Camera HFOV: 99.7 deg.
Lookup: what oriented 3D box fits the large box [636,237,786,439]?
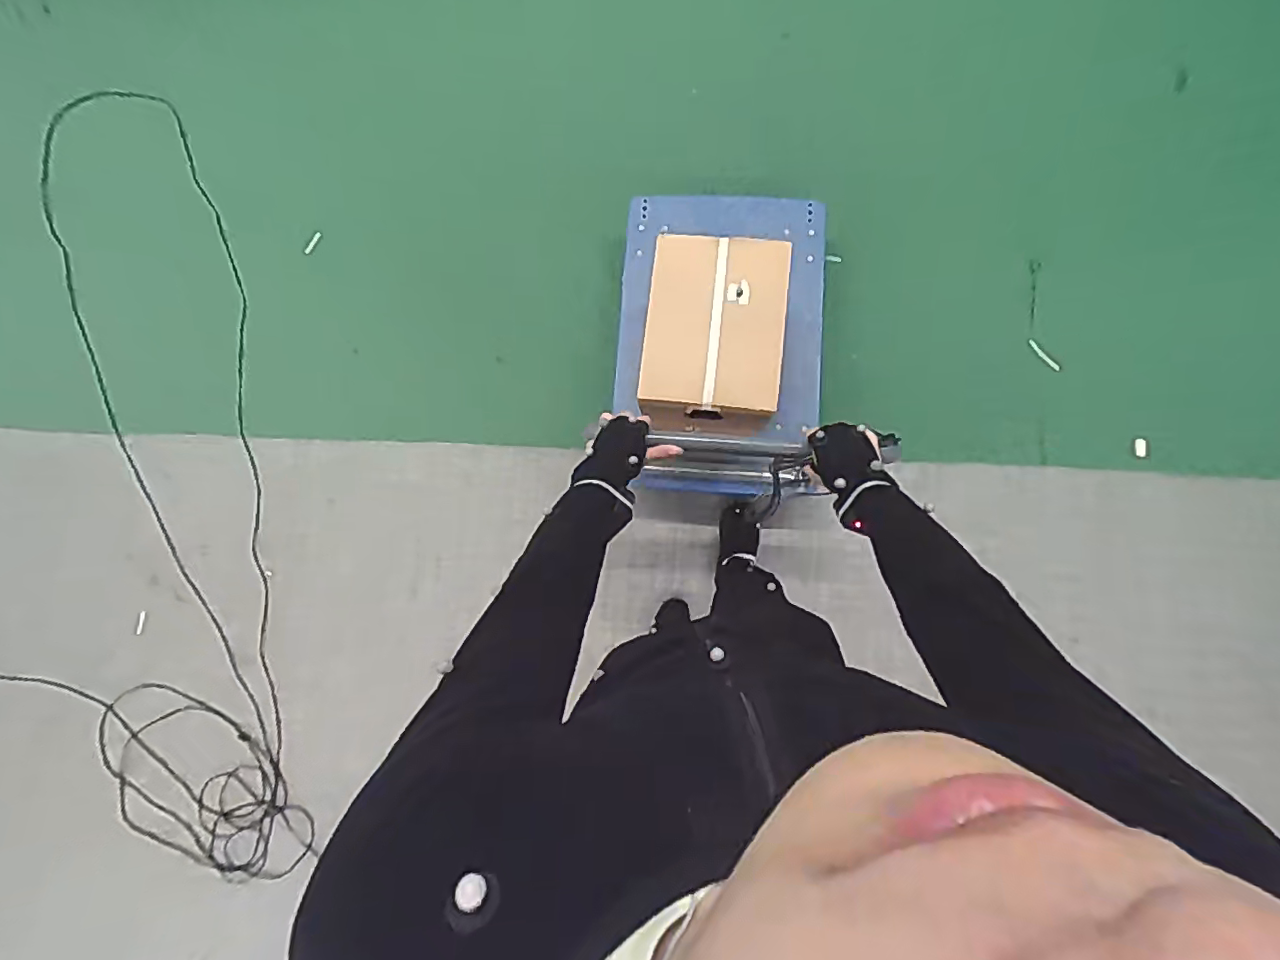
[{"bbox_3d":[0.175,-0.339,1.372,0.320,0.320,0.408,6,81,5],"label":"large box"}]
